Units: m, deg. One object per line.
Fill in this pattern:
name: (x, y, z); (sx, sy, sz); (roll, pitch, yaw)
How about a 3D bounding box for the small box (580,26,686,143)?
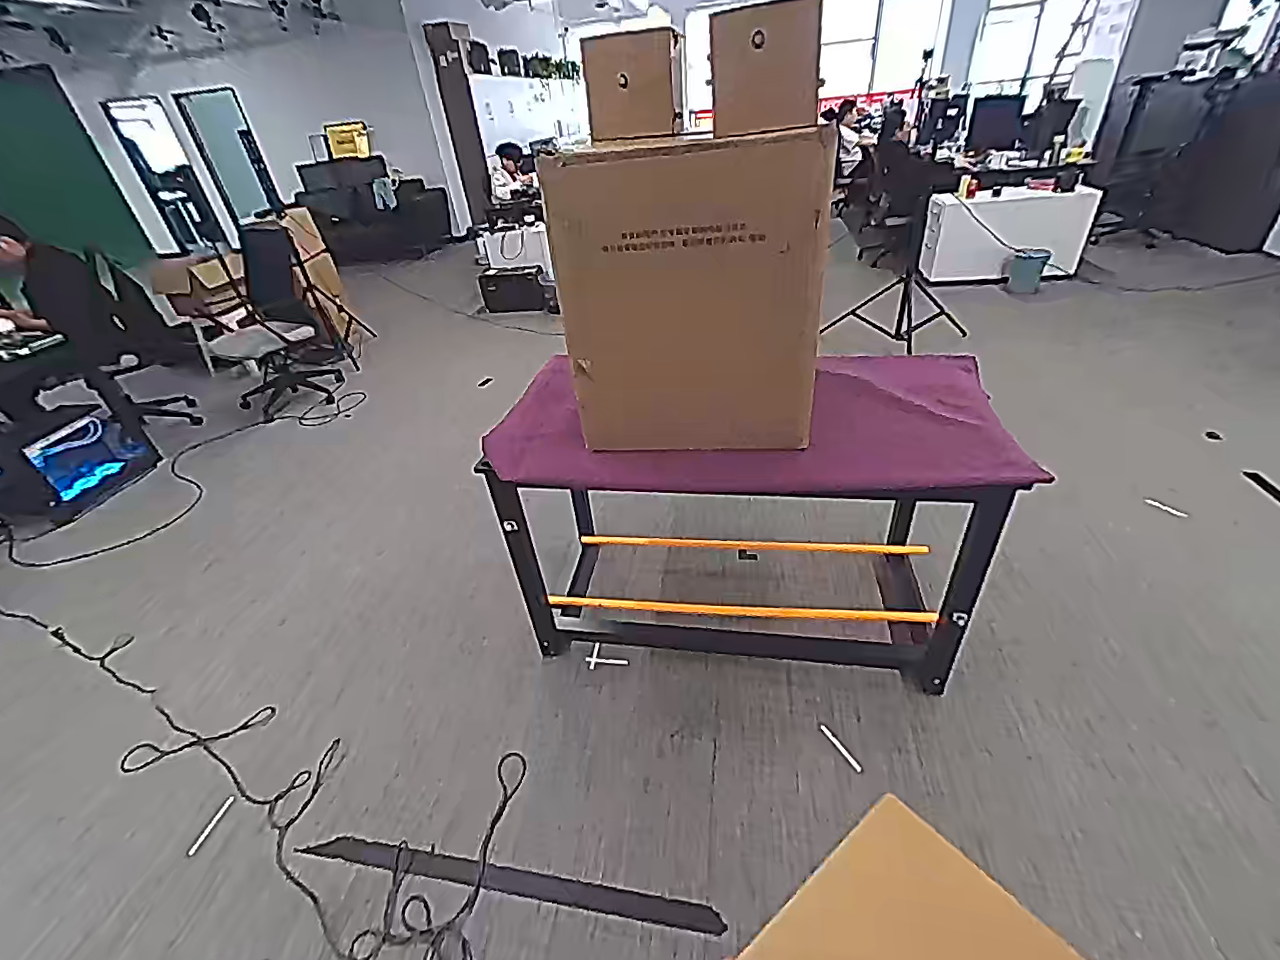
small box: (-0.004, -0.798, 1.101); (0.179, 0.176, 0.168); (2, 34, 14)
